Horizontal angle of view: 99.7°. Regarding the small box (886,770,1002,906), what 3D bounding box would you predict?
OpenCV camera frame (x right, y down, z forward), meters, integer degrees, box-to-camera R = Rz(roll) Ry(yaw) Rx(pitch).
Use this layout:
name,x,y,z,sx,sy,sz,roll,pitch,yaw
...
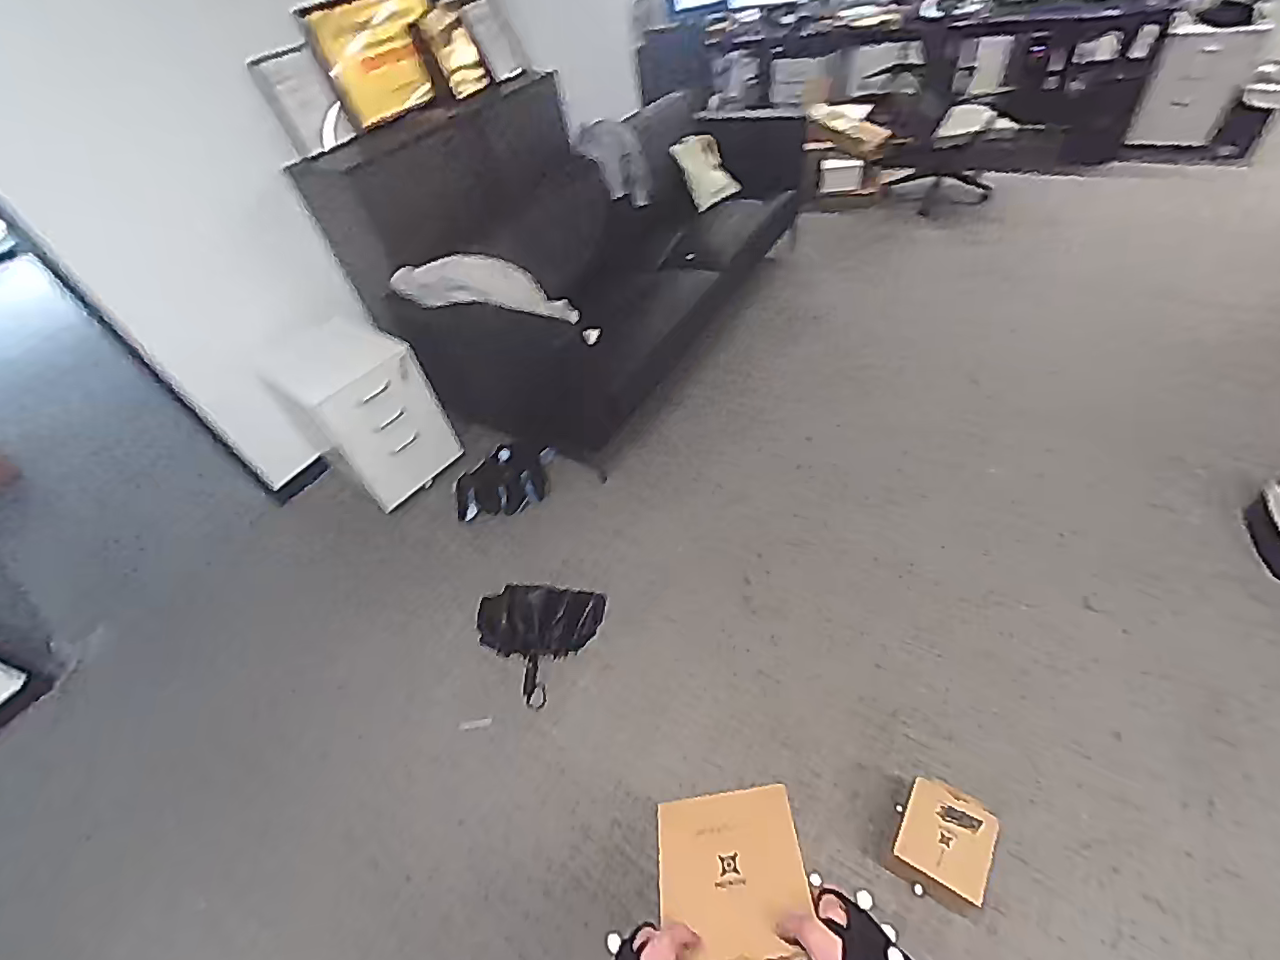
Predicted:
name,x,y,z,sx,sy,sz,roll,pitch,yaw
small box,0.651,0.778,1.174,0.168,0.176,0.179,21,56,30

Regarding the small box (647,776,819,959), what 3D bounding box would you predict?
name,x,y,z,sx,sy,sz,roll,pitch,yaw
small box,0.110,0.497,0.645,0.168,0.176,0.179,-14,25,8
